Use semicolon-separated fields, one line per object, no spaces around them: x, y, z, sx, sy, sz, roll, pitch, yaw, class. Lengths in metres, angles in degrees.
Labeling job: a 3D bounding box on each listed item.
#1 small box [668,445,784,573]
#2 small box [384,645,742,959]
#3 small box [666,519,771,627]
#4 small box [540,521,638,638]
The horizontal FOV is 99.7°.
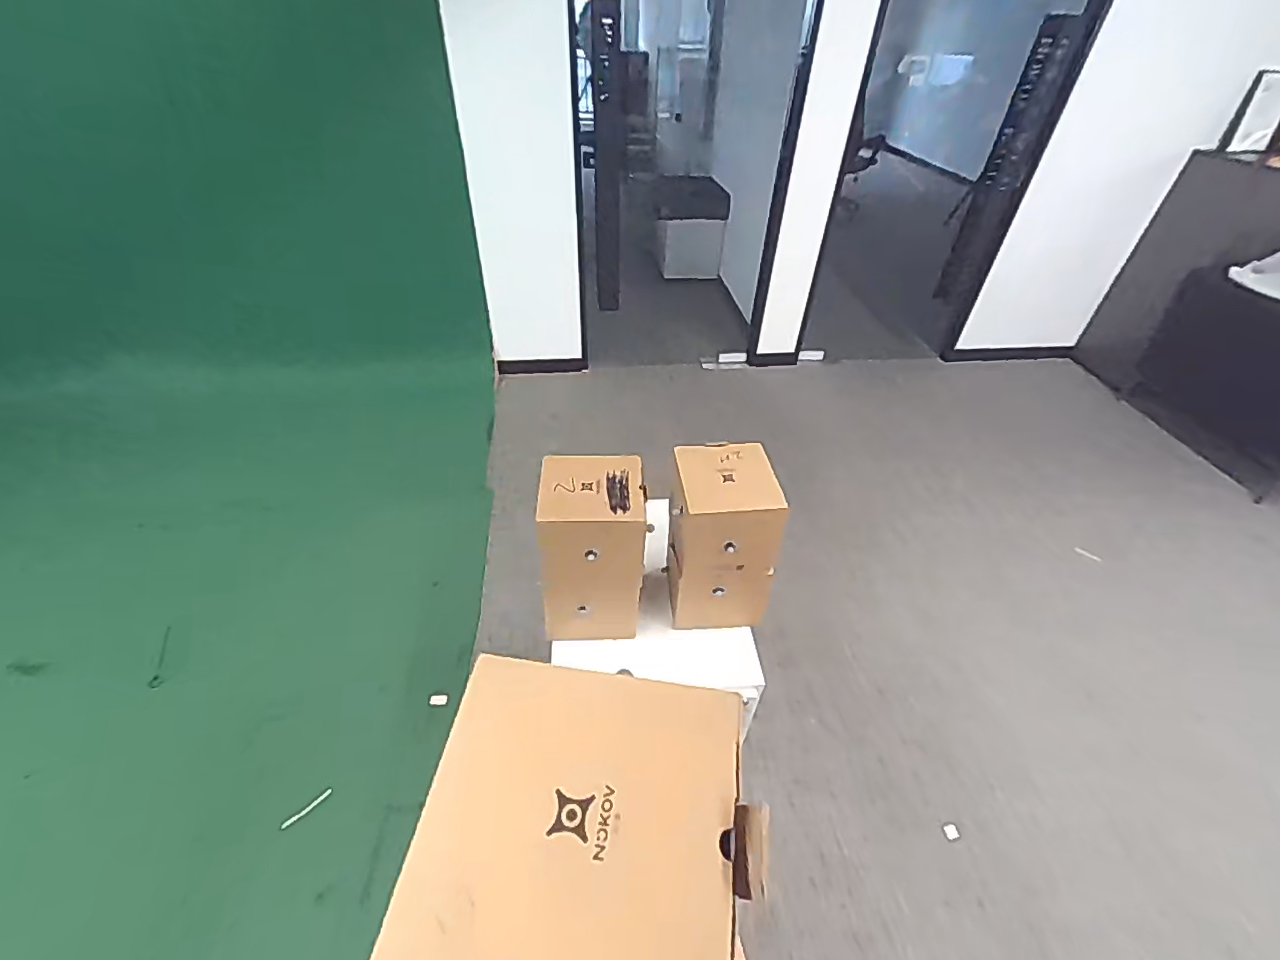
0.147;0.057;0.988;0.168;0.176;0.179;-3;41;-6;small box
-0.031;0.235;0.369;0.179;0.176;0.168;7;49;5;small box
0.147;0.183;1.094;0.179;0.176;0.168;-1;42;-5;small box
-0.098;0.196;1.063;0.179;0.176;0.168;0;42;-5;small box
